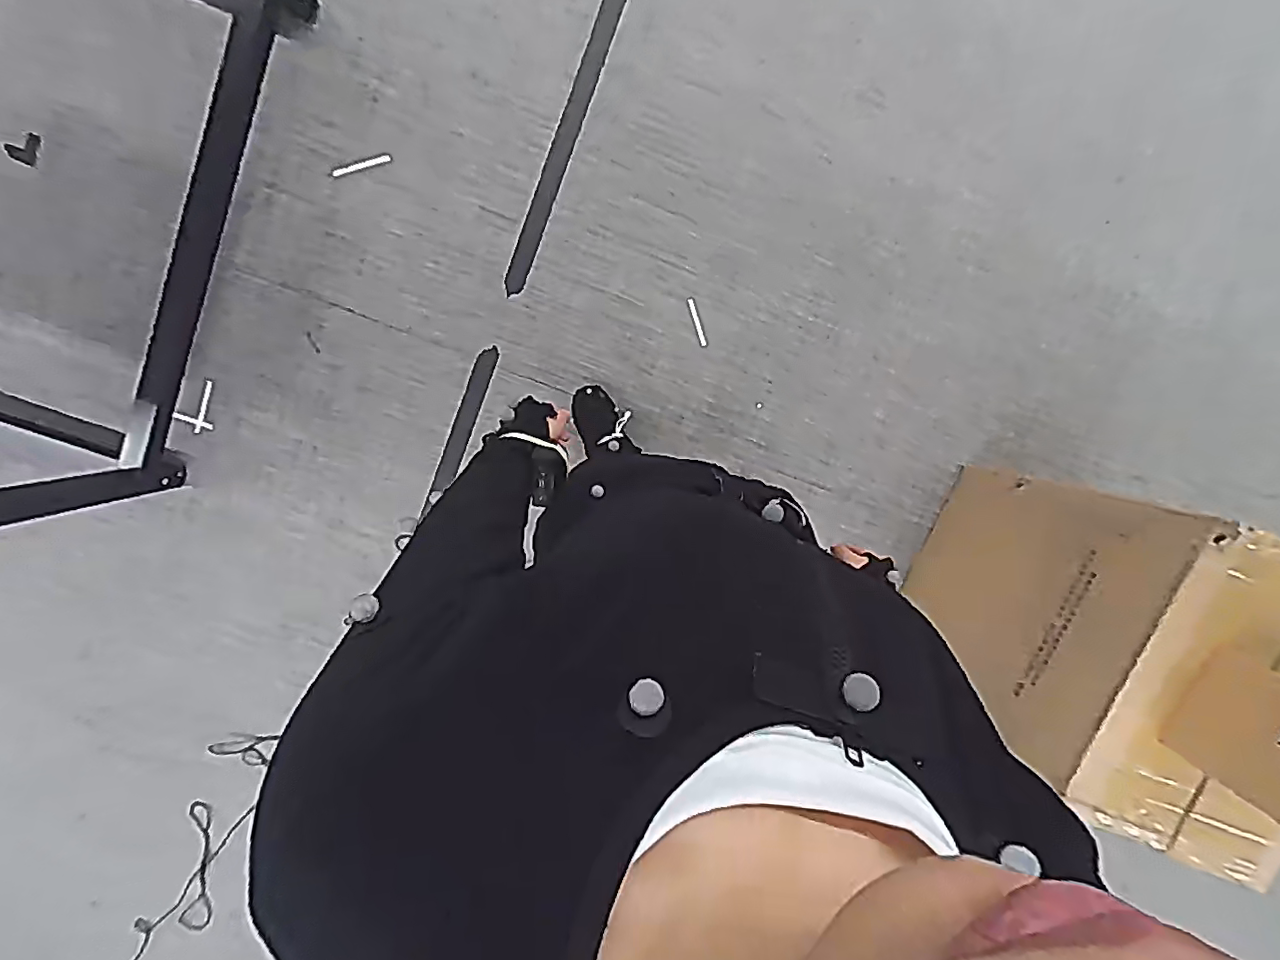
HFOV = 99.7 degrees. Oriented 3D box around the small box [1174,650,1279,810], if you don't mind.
[{"bbox_3d":[0.926,0.370,0.756,0.168,0.176,0.179,23,99,-4],"label":"small box"}]
